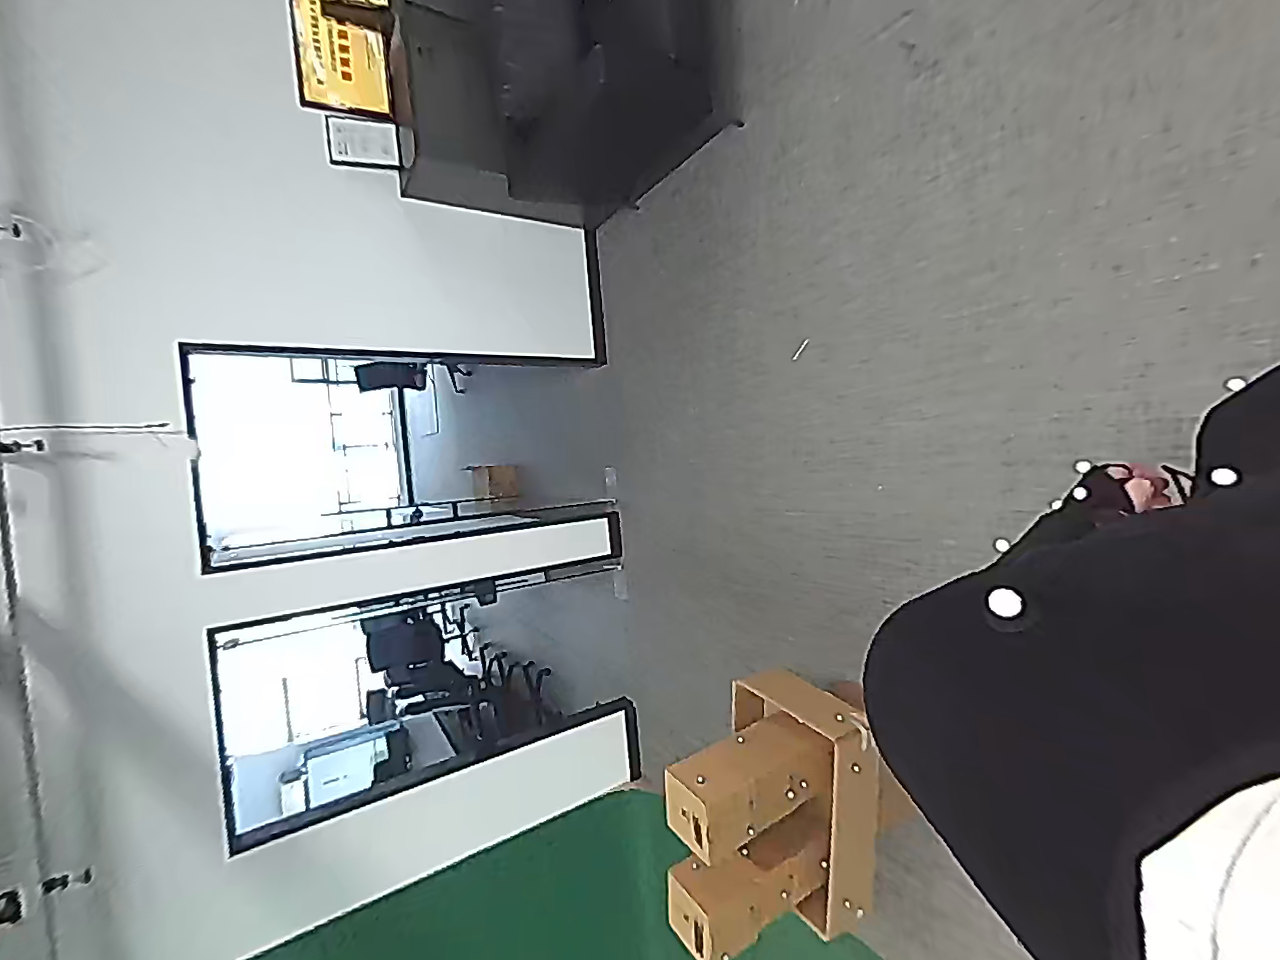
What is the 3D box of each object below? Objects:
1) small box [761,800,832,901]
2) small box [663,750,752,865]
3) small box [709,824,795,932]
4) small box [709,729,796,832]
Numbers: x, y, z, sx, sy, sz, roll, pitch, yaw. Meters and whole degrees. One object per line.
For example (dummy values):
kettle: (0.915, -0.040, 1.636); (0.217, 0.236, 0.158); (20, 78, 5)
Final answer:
small box: (0.454, 1.106, 1.638); (0.179, 0.176, 0.168); (12, 106, 56)
small box: (0.180, 0.843, 1.416); (0.179, 0.176, 0.168); (8, 102, 56)
small box: (0.318, 1.120, 1.552); (0.179, 0.176, 0.168); (12, 105, 55)
small box: (0.313, 0.826, 1.511); (0.179, 0.176, 0.168); (8, 102, 55)
